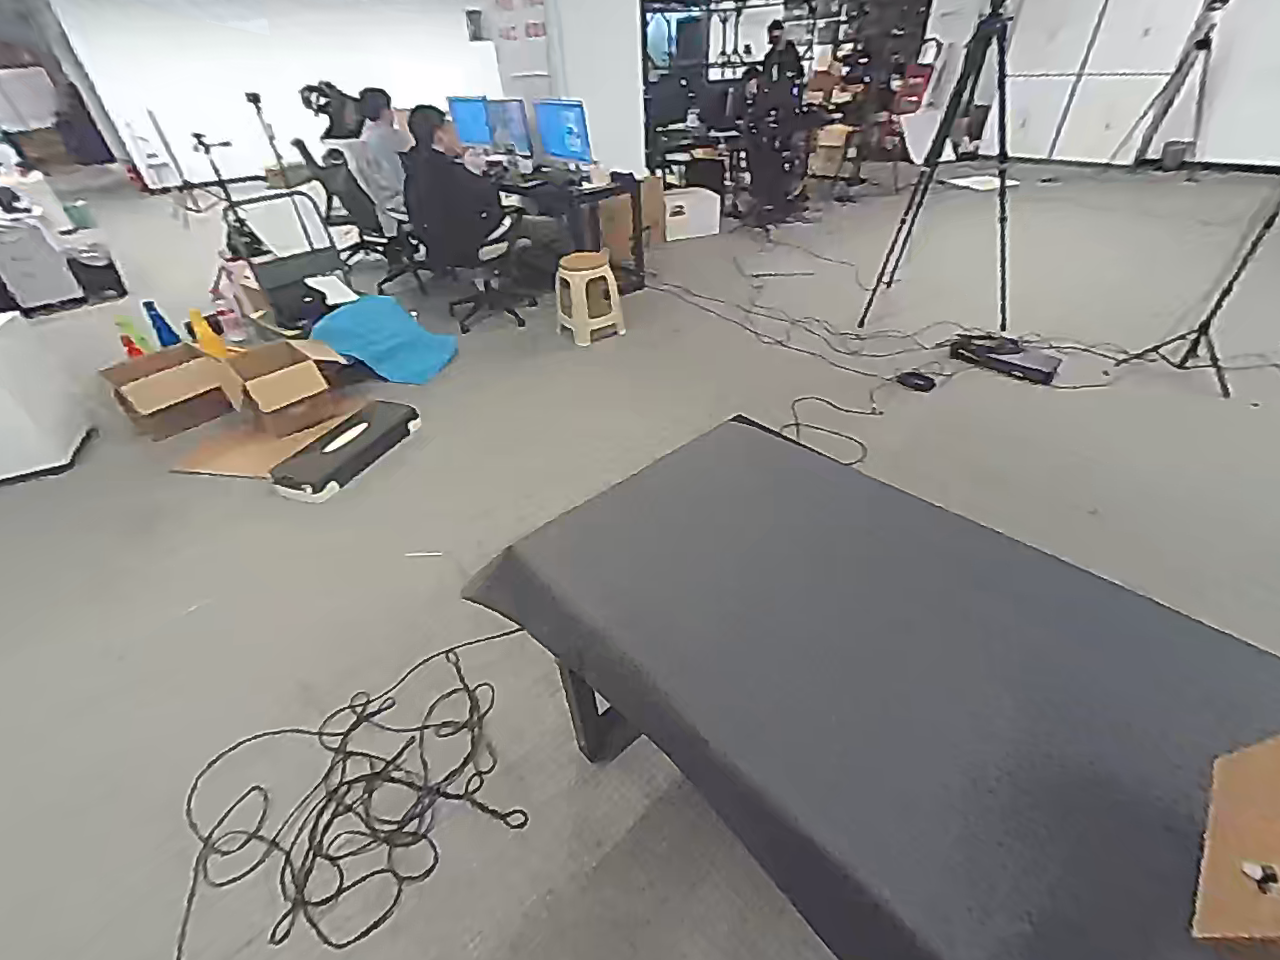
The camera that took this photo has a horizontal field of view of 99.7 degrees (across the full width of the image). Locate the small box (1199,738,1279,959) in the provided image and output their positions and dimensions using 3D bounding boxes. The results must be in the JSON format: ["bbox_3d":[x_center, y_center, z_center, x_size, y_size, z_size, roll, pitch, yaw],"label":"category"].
[{"bbox_3d":[0.571,0.313,0.397,0.168,0.176,0.179,26,58,28],"label":"small box"}]
